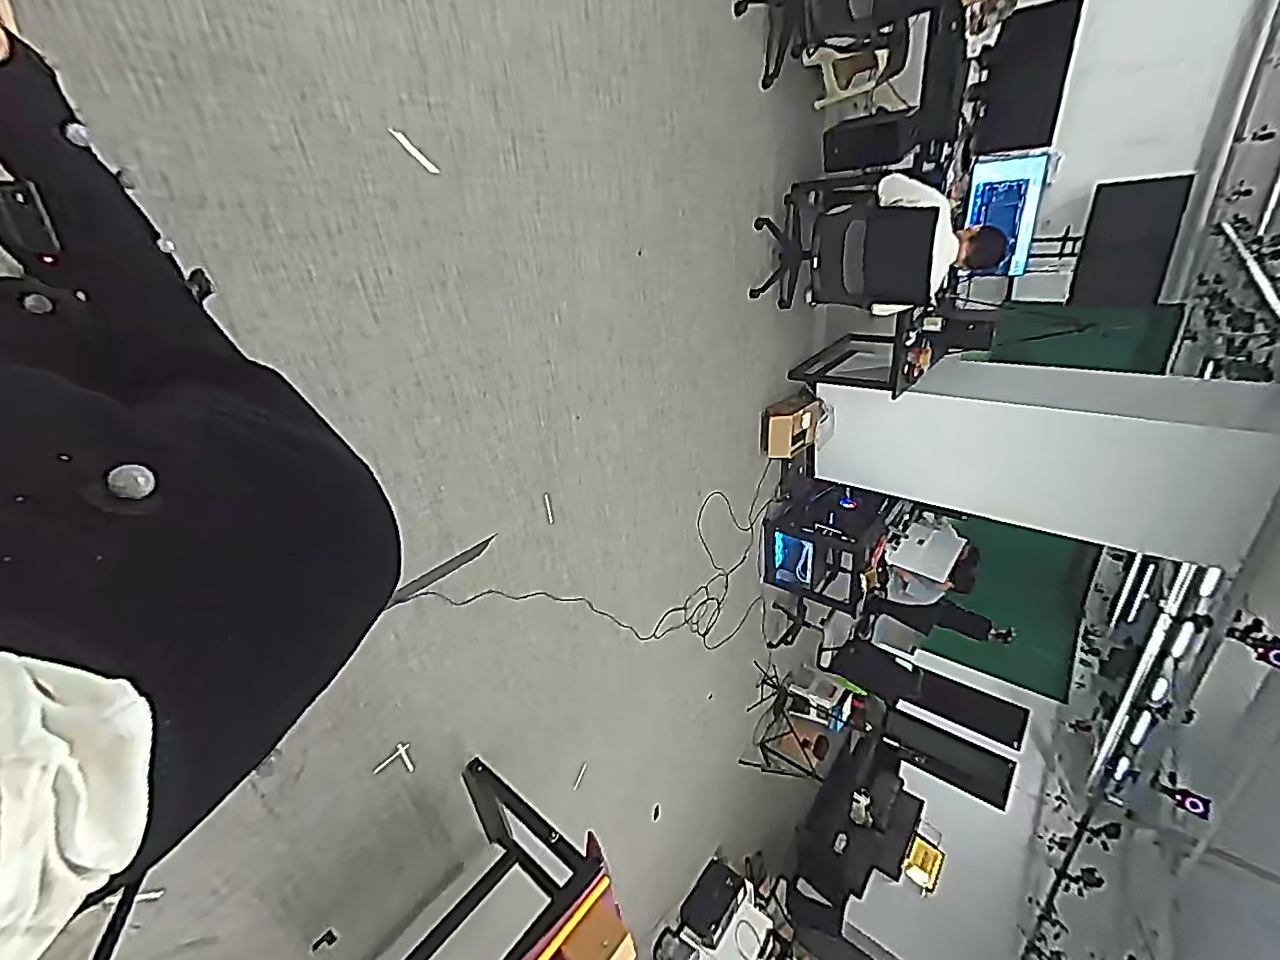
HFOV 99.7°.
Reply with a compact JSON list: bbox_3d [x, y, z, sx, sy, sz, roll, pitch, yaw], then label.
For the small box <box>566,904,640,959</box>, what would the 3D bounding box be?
[{"bbox_3d":[-0.124,1.557,1.766,0.179,0.176,0.168,-33,127,-40],"label":"small box"}]
